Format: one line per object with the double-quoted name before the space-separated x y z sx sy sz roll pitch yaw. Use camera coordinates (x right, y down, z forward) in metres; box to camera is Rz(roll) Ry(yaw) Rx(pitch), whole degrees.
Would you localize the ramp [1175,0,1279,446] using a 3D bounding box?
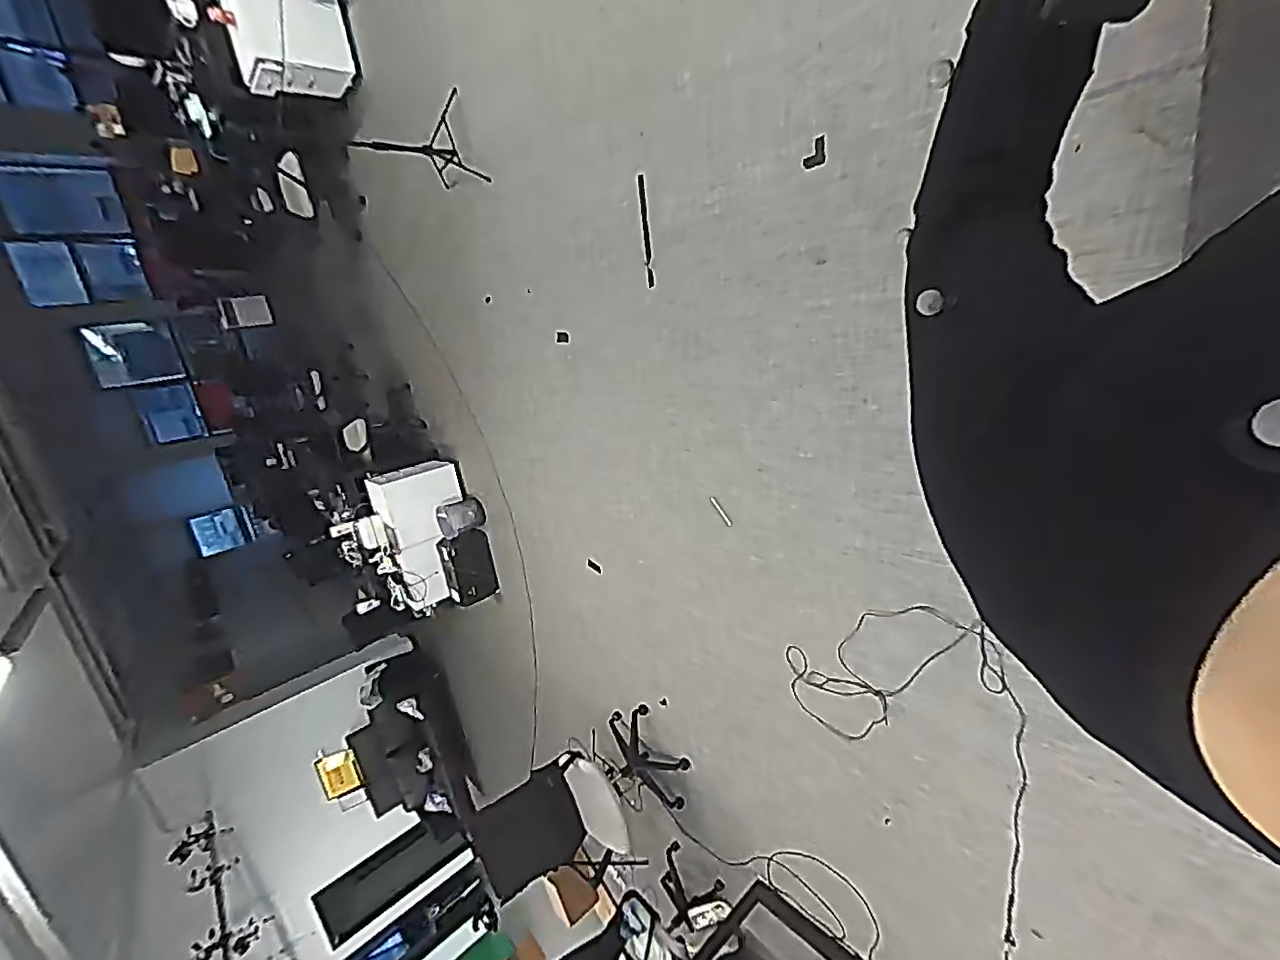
"ramp" 1.165 -0.494 0.787 0.509 0.206 0.991 7 113 48
